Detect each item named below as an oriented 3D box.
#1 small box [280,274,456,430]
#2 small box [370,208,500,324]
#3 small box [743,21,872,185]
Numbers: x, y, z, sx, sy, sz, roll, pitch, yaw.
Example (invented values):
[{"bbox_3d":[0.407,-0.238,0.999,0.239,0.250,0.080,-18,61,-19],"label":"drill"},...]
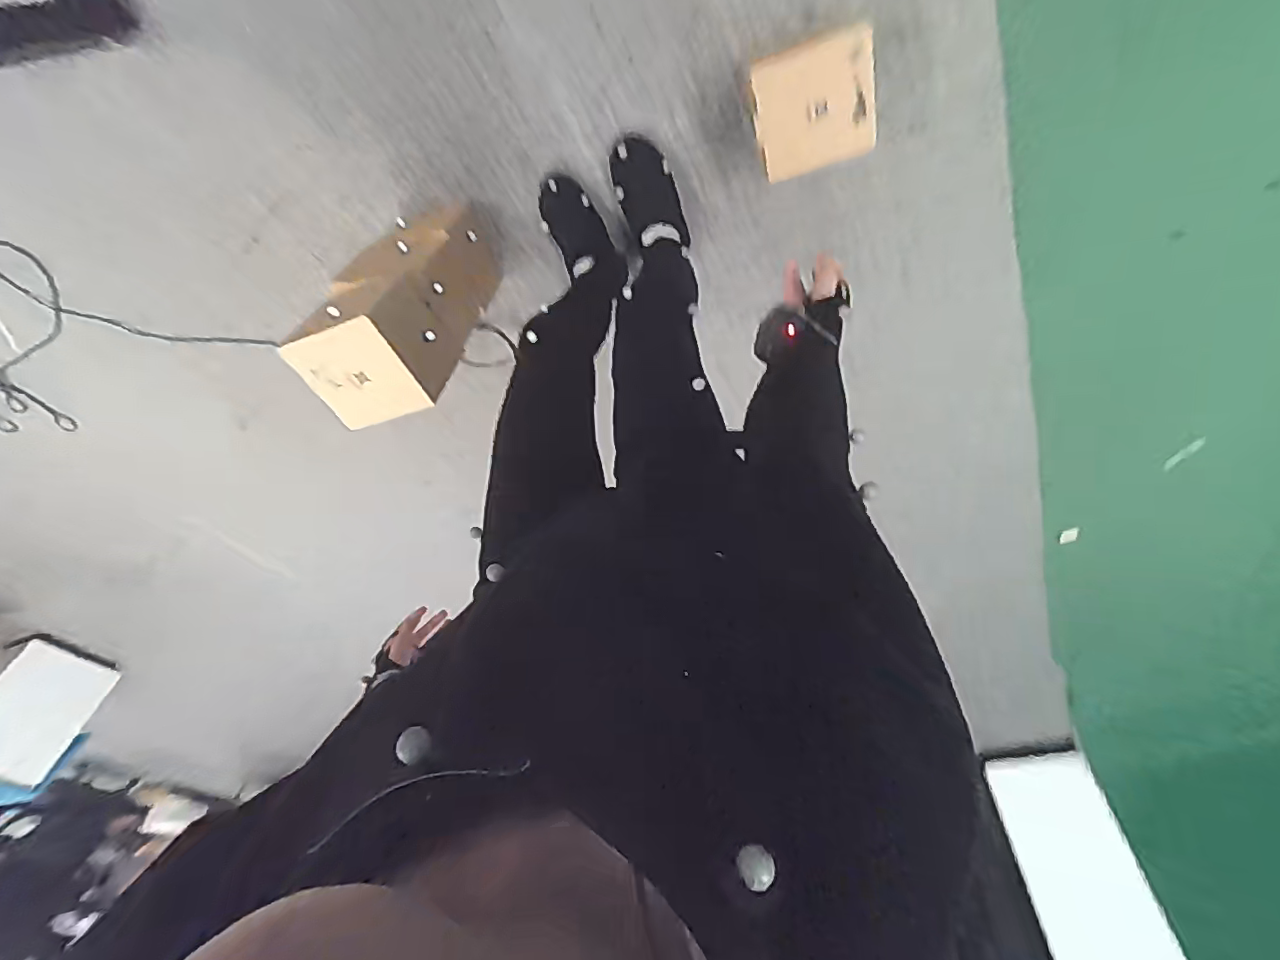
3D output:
[{"bbox_3d":[-0.424,-0.211,0.885,0.179,0.176,0.168,-12,131,16],"label":"small box"},{"bbox_3d":[-0.410,-0.441,1.116,0.168,0.176,0.179,-7,134,11],"label":"small box"},{"bbox_3d":[0.271,-0.623,0.895,0.179,0.176,0.168,-12,133,16],"label":"small box"}]
